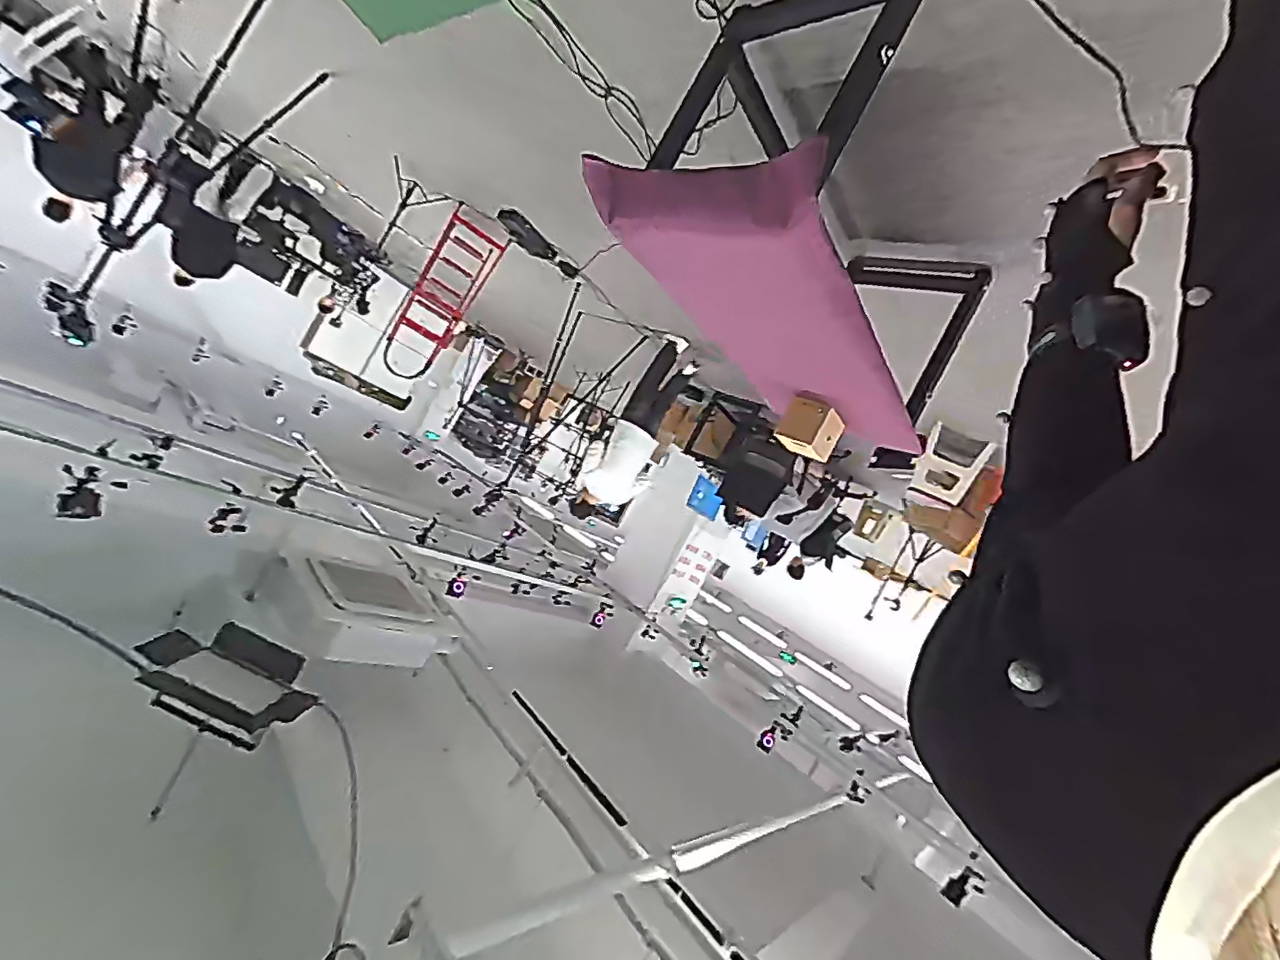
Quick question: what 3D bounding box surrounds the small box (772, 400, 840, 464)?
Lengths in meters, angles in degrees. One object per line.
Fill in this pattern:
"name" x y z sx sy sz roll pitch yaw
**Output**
"small box" 0.639 -0.188 2.071 0.168 0.176 0.179 27 179 40
